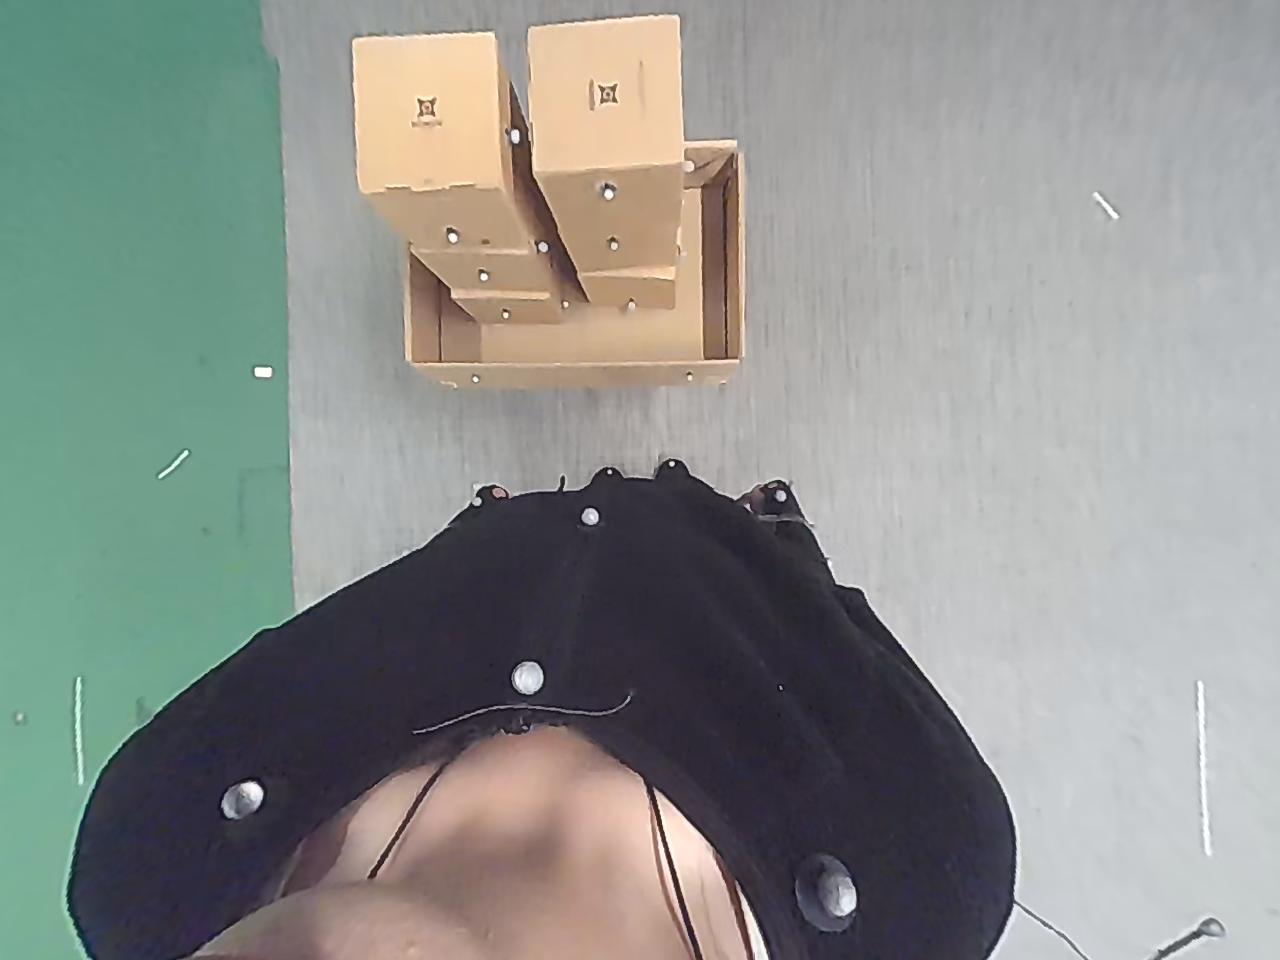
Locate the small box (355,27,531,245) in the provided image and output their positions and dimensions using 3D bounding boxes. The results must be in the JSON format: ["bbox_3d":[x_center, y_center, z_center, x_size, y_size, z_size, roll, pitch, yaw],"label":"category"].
[{"bbox_3d":[-0.238,-0.424,0.691,0.168,0.176,0.179,-2,91,1],"label":"small box"}]
